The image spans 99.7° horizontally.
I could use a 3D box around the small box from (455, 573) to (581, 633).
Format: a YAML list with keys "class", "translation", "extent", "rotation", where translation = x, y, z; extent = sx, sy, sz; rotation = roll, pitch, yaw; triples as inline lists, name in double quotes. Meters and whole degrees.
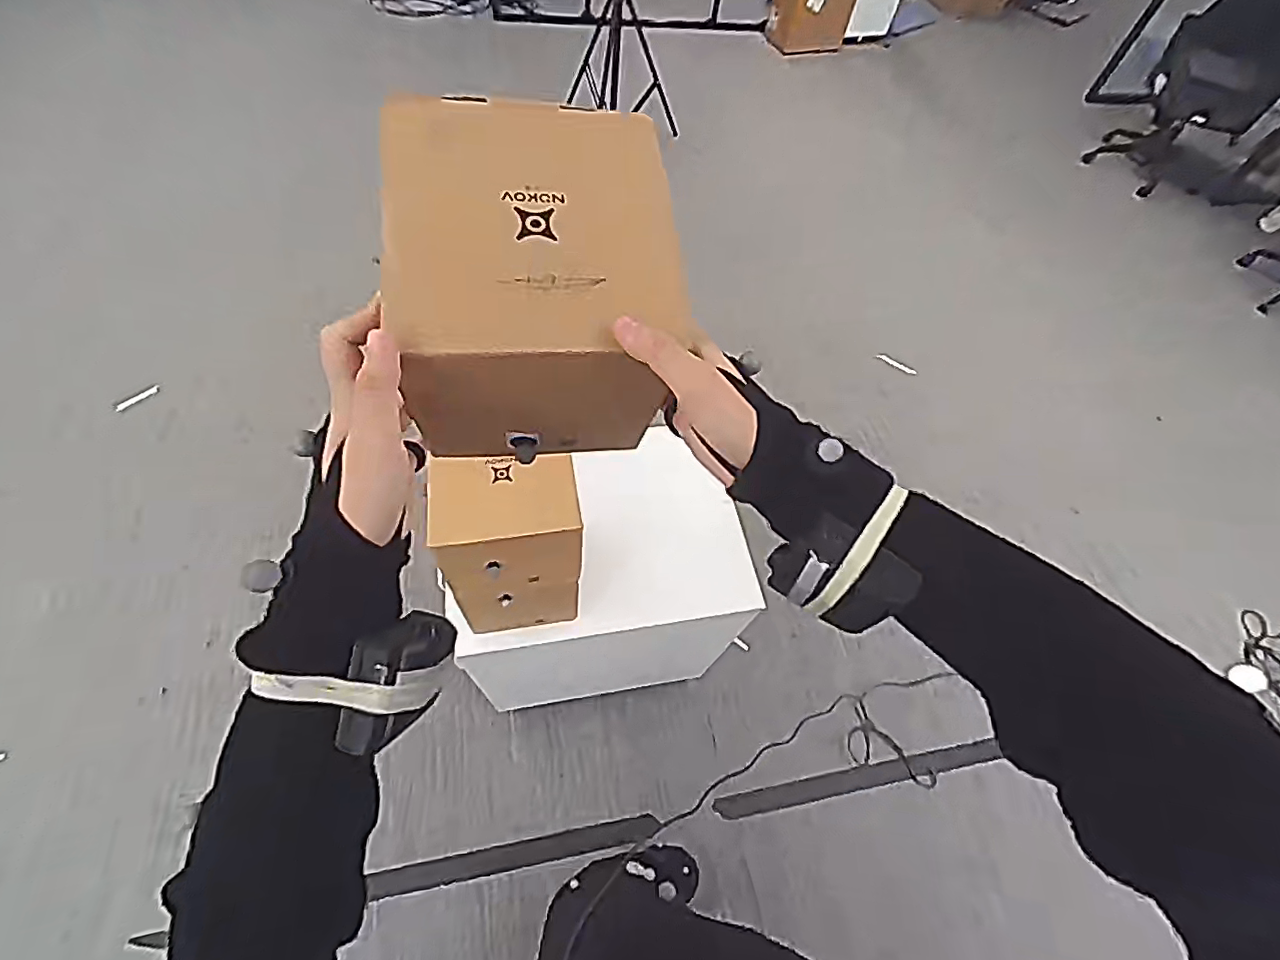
- class: "small box"
  translation: [-0.183, 0.114, 0.824]
  extent: [0.168, 0.176, 0.179]
  rotation: [-6, 59, -11]

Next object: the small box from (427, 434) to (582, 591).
- class: "small box"
  translation: [-0.165, 0.030, 0.684]
  extent: [0.168, 0.176, 0.179]
  rotation: [-7, 59, -11]

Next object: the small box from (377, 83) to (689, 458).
- class: "small box"
  translation: [-0.077, -0.127, 0.382]
  extent: [0.168, 0.176, 0.179]
  rotation: [-4, 74, -13]
